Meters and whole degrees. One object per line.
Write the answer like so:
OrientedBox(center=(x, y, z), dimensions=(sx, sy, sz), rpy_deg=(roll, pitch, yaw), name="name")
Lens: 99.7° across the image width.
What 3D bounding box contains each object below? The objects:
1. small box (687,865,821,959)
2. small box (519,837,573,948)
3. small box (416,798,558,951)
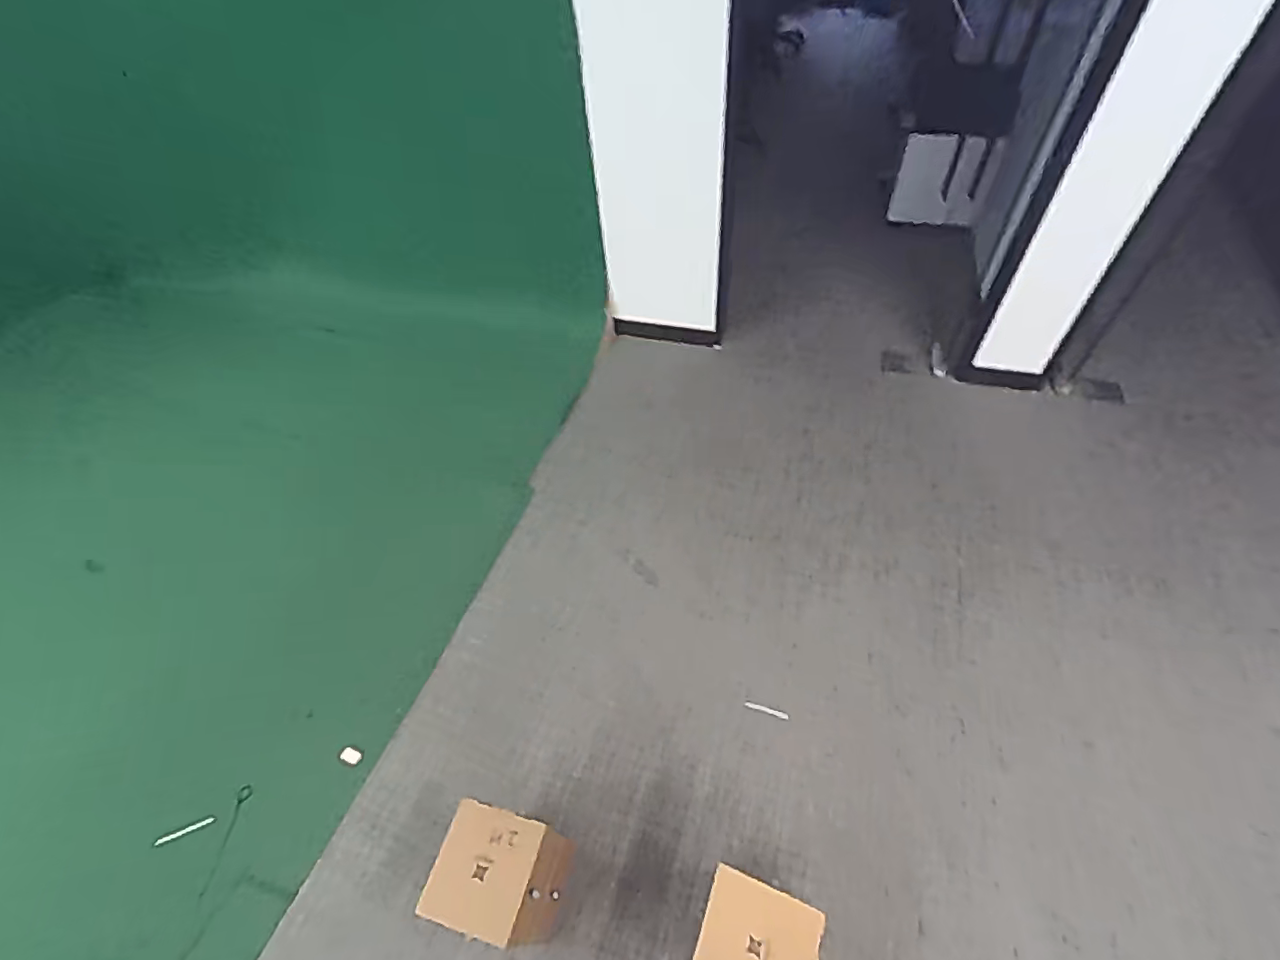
OrientedBox(center=(0.178, 0.771, 0.882), dimensions=(0.179, 0.176, 0.168), rpy_deg=(16, 52, 18), name="small box")
OrientedBox(center=(-0.247, 0.814, 1.102), dimensions=(0.168, 0.176, 0.179), rpy_deg=(12, 51, 14), name="small box")
OrientedBox(center=(-0.262, 0.709, 0.976), dimensions=(0.168, 0.176, 0.179), rpy_deg=(11, 51, 13), name="small box")
